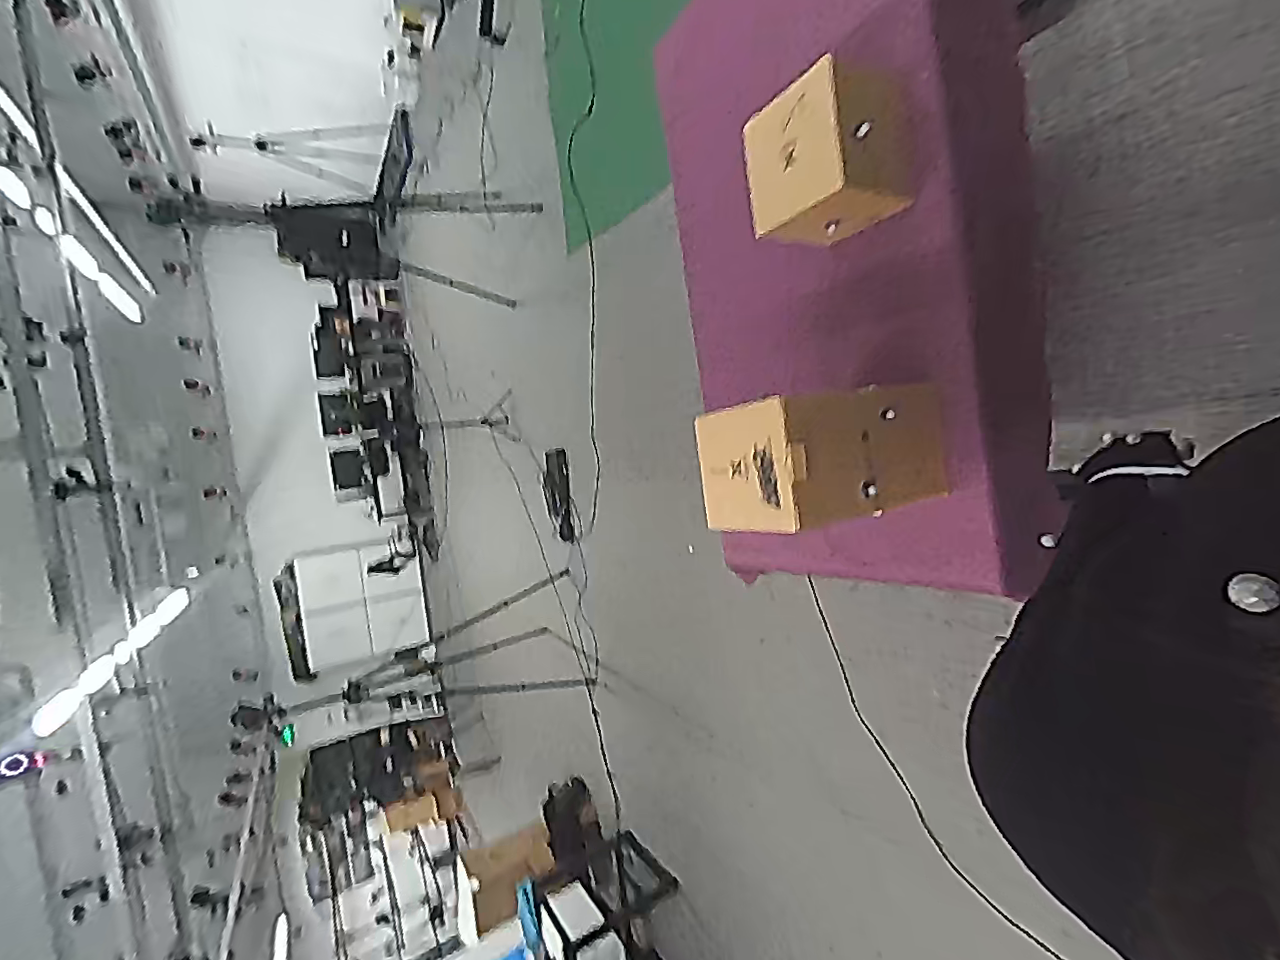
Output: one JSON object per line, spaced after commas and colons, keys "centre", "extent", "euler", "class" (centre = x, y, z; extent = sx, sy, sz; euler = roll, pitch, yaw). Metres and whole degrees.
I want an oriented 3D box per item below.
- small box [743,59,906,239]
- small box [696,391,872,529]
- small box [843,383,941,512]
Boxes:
{"centre": [0.283, -0.484, 0.827], "extent": [0.168, 0.176, 0.179], "euler": [-2, 96, 58], "class": "small box"}
{"centre": [0.205, -0.028, 0.762], "extent": [0.179, 0.176, 0.168], "euler": [-6, 92, 60], "class": "small box"}
{"centre": [0.344, -0.049, 0.847], "extent": [0.168, 0.176, 0.179], "euler": [-6, 92, 58], "class": "small box"}
